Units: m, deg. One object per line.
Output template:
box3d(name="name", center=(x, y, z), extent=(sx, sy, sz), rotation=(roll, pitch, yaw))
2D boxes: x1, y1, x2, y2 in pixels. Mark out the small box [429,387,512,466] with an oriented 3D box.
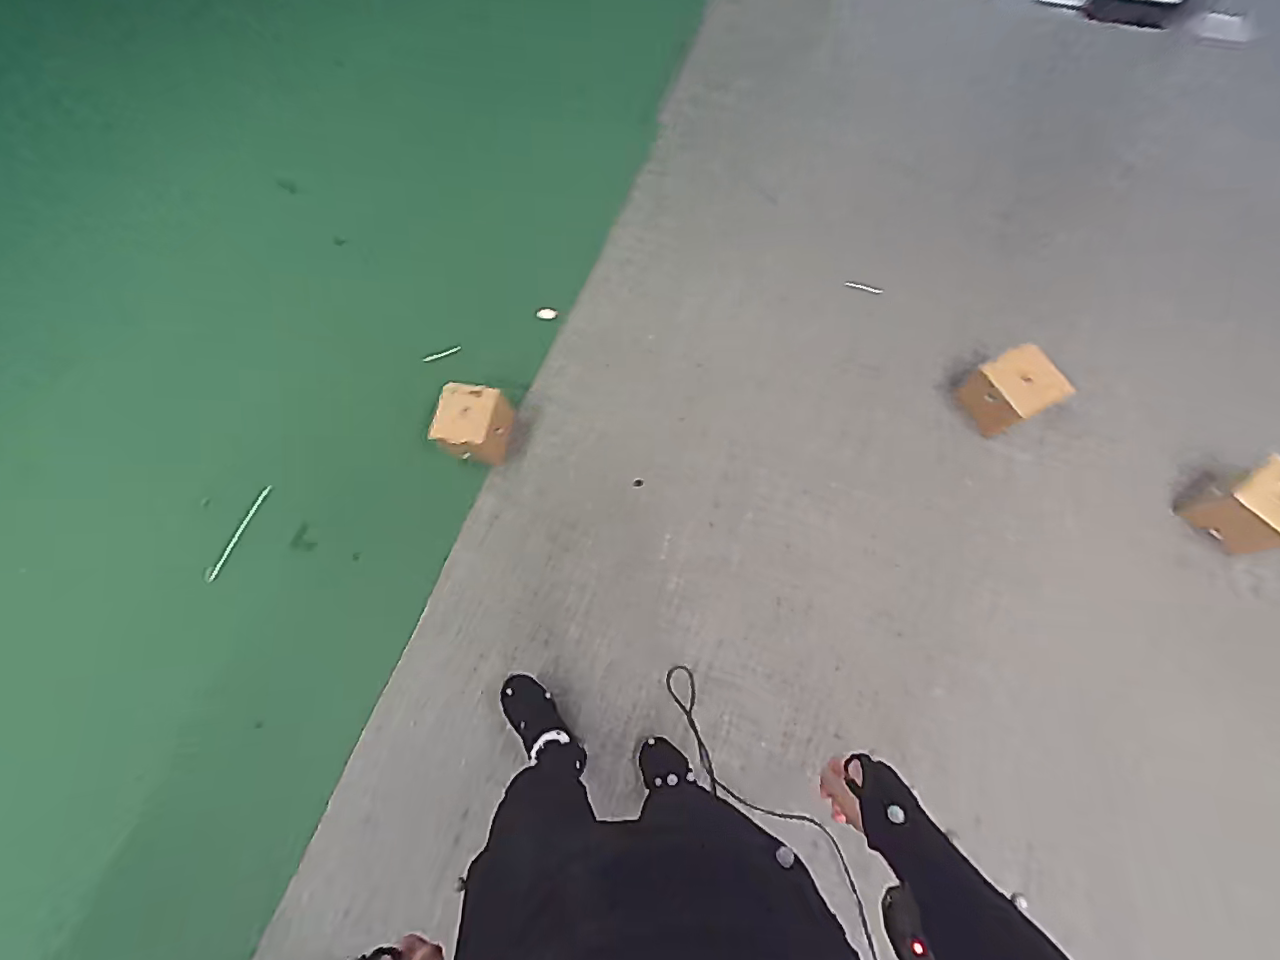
box3d(name="small box", center=(-0.497, -0.155, 1.615), extent=(0.168, 0.176, 0.179), rotation=(8, 73, 7))
